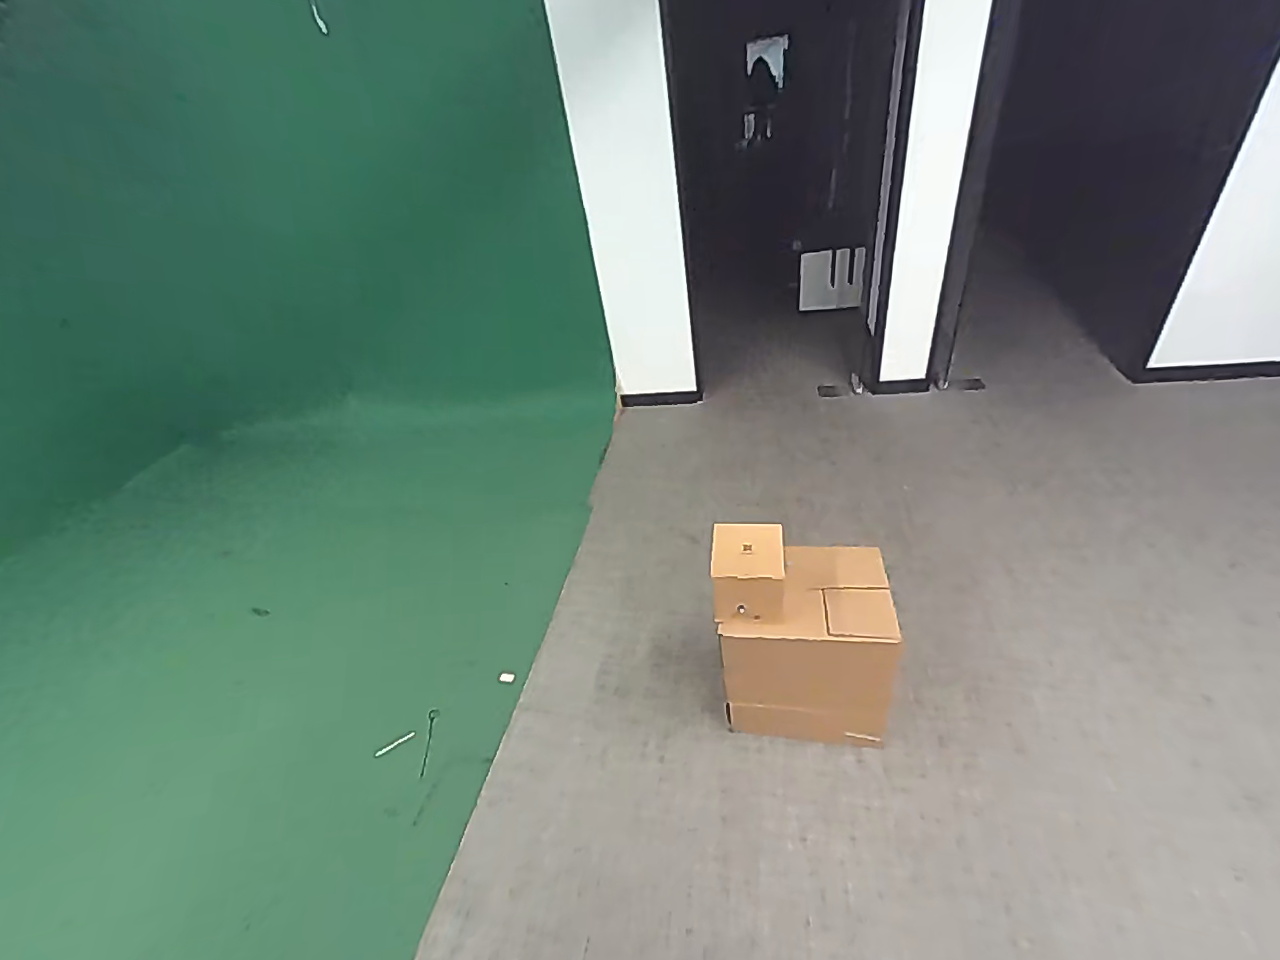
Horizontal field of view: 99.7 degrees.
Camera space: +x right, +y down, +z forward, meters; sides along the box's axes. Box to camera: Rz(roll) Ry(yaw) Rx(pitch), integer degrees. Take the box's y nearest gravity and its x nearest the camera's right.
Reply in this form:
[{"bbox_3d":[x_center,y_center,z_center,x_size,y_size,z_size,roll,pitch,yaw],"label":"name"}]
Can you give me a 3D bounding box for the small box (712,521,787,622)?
[{"bbox_3d":[0.266,0.219,1.315,0.168,0.176,0.179,-1,40,12],"label":"small box"}]
